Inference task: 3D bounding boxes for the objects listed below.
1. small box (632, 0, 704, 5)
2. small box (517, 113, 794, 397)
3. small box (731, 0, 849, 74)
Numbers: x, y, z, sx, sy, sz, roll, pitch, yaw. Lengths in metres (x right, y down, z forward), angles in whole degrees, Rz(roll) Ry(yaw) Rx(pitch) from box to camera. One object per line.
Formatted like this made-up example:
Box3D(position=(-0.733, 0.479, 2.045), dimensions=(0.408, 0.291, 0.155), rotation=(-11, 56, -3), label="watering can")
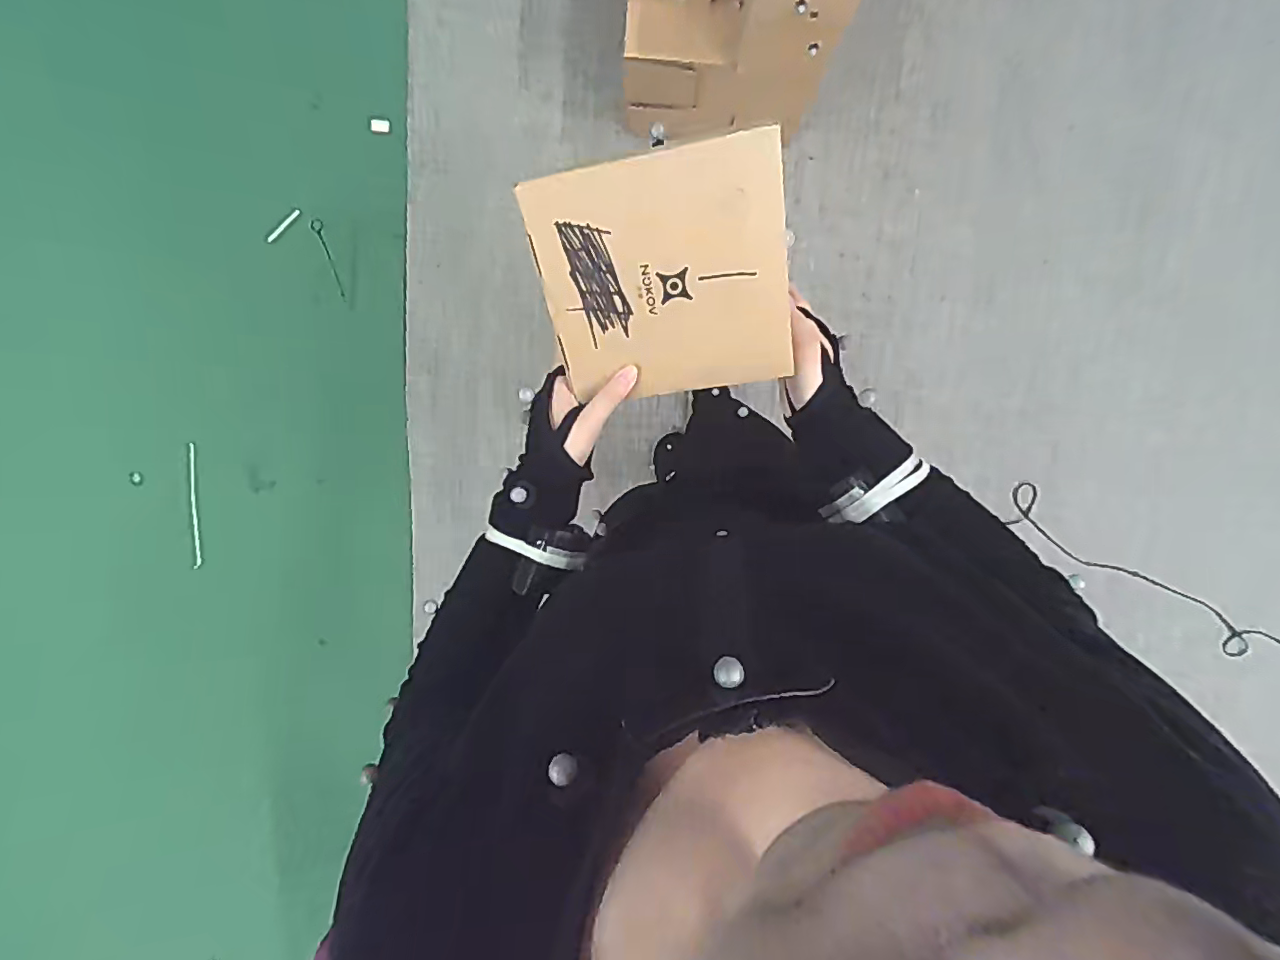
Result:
Box3D(position=(0.051, -1.009, 0.963), dimensions=(0.168, 0.176, 0.179), rotation=(4, 96, 3), label="small box")
Box3D(position=(0.025, -0.187, 0.448), dimensions=(0.179, 0.176, 0.168), rotation=(-7, 123, 11), label="small box")
Box3D(position=(0.266, -0.866, 0.968), dimensions=(0.179, 0.176, 0.168), rotation=(3, 97, 3), label="small box")
